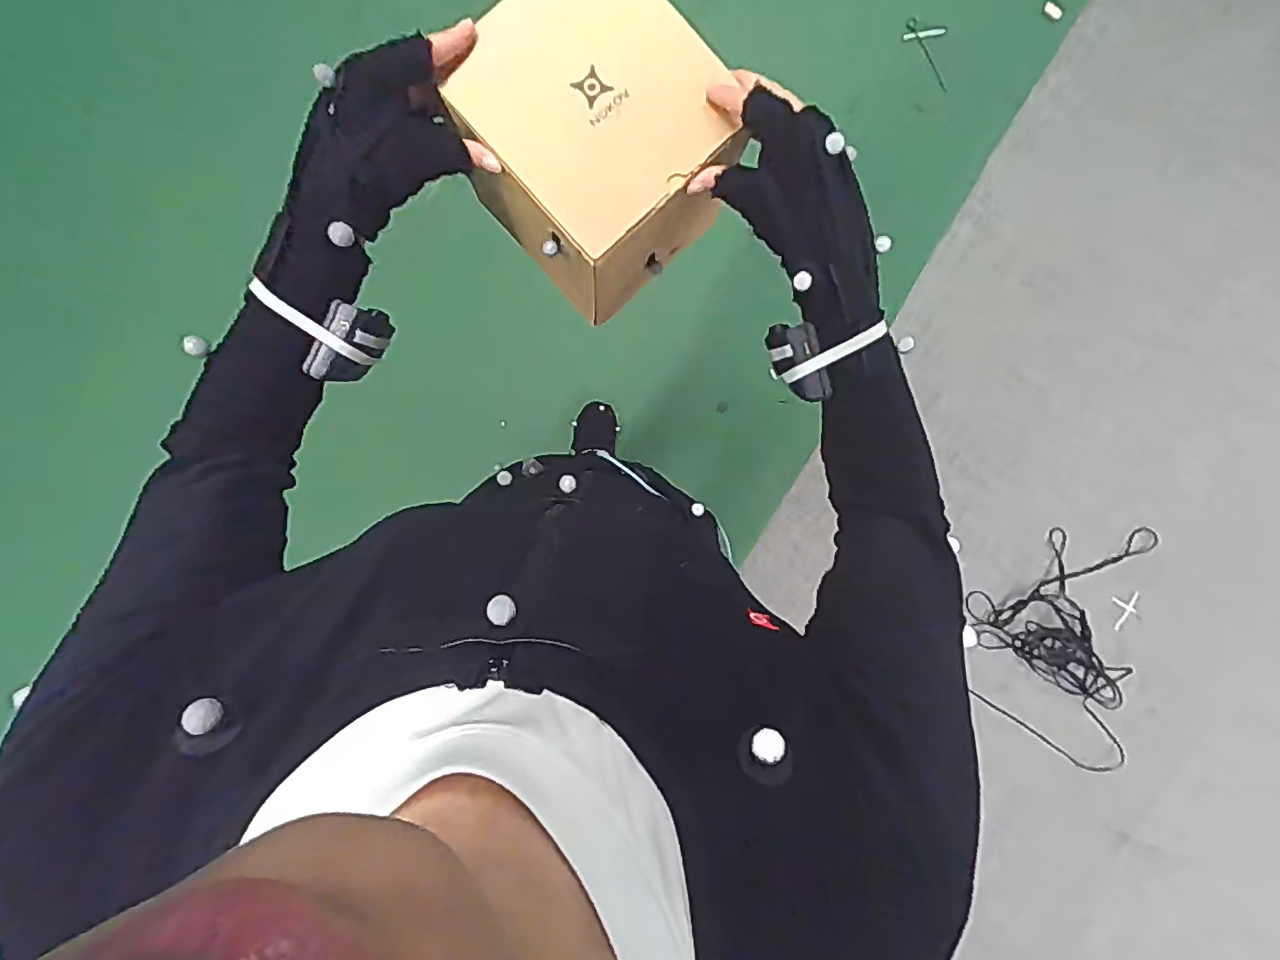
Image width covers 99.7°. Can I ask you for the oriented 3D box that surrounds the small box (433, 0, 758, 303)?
[{"bbox_3d":[-0.037,-0.285,0.464,0.168,0.176,0.179,-43,95,-3],"label":"small box"}]
